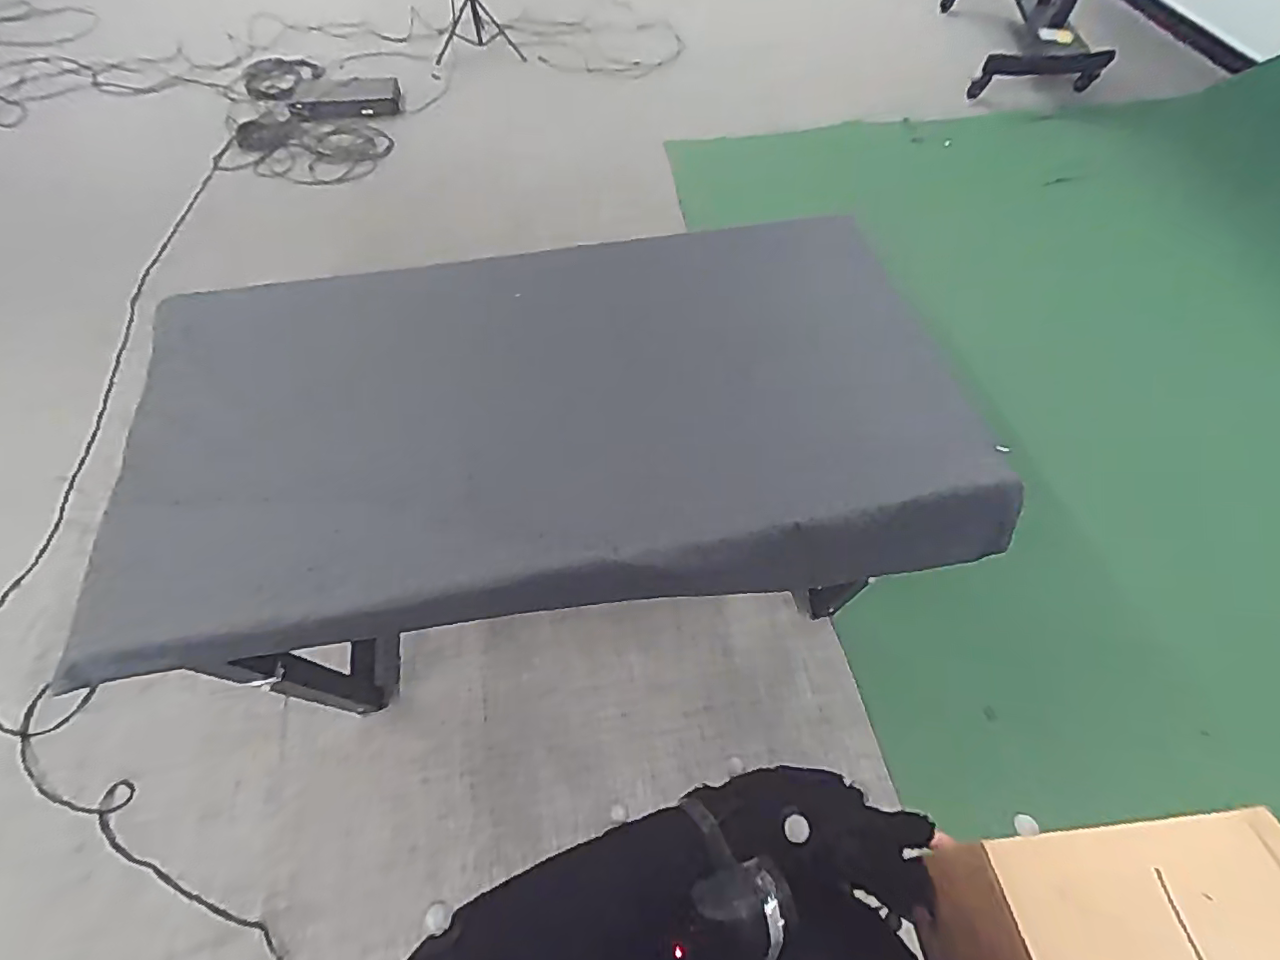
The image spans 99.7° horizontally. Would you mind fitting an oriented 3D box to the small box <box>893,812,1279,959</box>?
[{"bbox_3d":[0.280,0.315,0.320,0.168,0.176,0.179,-5,50,0],"label":"small box"}]
